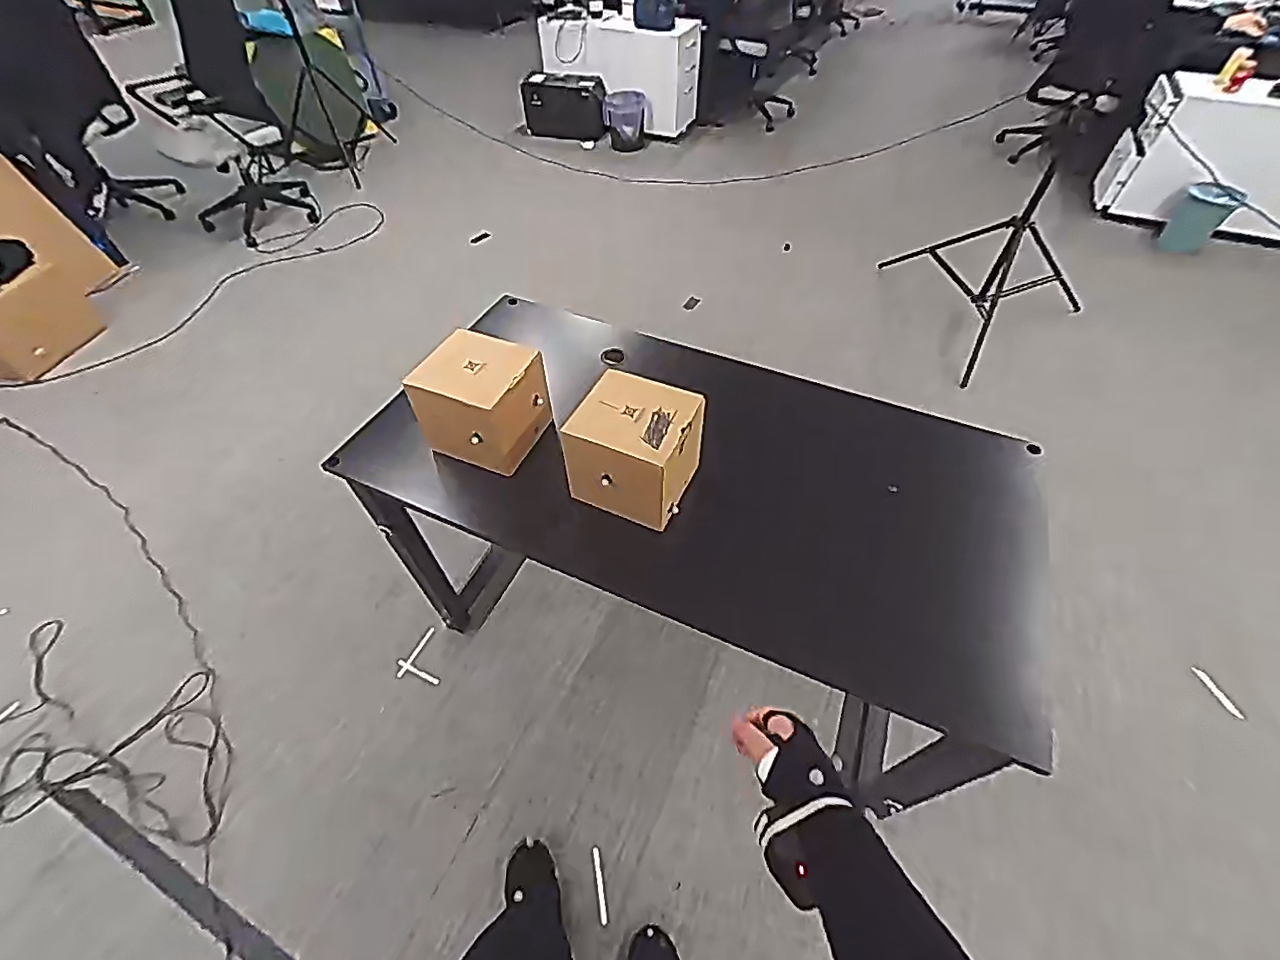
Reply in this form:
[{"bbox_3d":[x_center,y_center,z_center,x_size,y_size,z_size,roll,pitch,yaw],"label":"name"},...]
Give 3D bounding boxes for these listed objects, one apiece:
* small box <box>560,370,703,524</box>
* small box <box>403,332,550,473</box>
[{"bbox_3d":[-0.009,-0.050,0.903,0.179,0.176,0.168,19,54,17],"label":"small box"},{"bbox_3d":[-0.281,-0.136,0.978,0.179,0.176,0.168,17,53,14],"label":"small box"}]
